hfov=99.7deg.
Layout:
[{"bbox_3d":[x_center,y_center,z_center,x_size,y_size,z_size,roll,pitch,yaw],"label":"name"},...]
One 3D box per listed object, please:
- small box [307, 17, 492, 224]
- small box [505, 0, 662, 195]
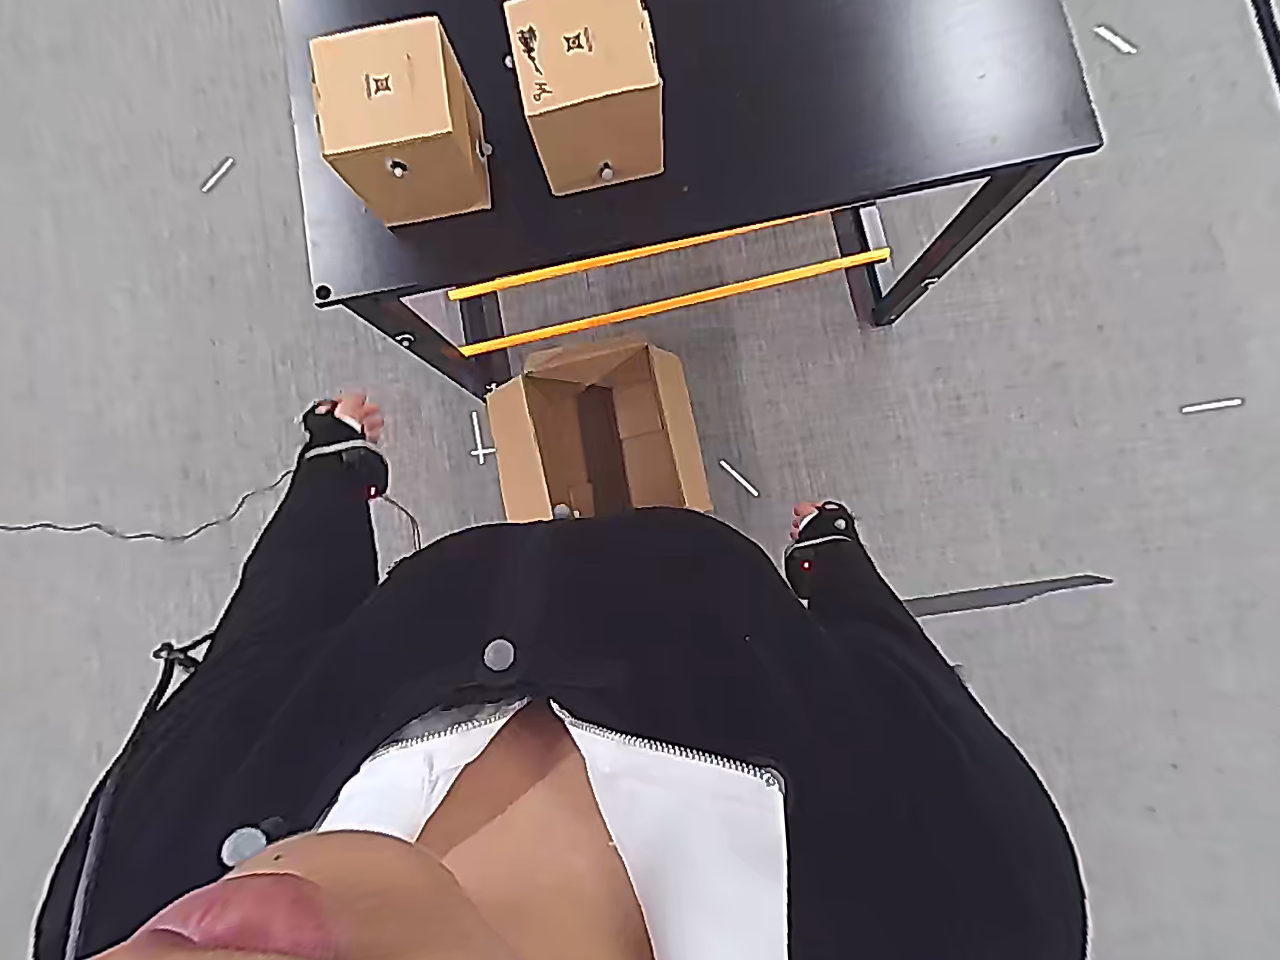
[{"bbox_3d":[-0.330,-0.492,0.767,0.179,0.176,0.168,-10,85,1],"label":"small box"},{"bbox_3d":[-0.070,-0.537,0.757,0.179,0.176,0.168,-12,84,1],"label":"small box"}]
